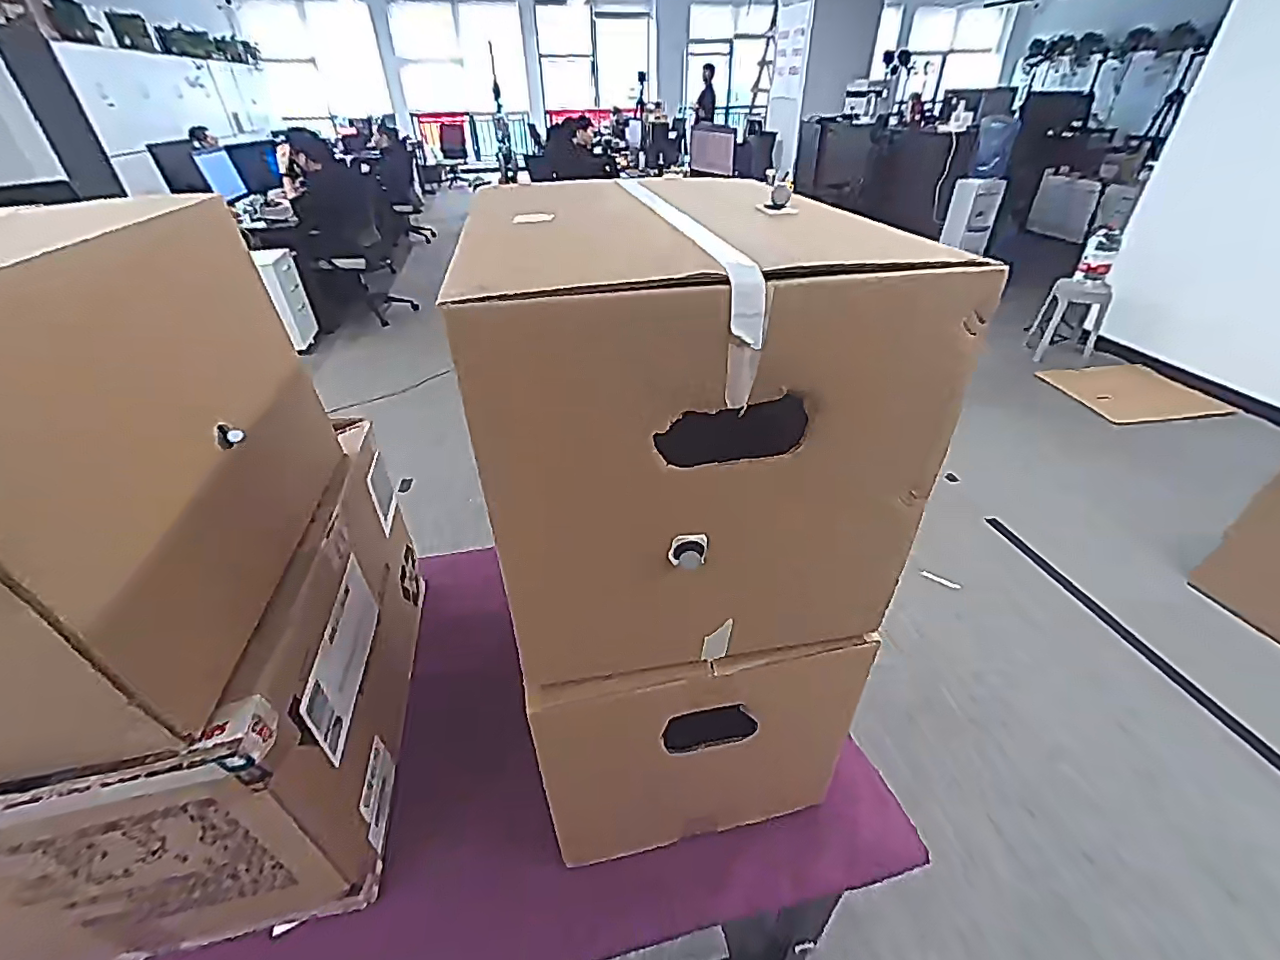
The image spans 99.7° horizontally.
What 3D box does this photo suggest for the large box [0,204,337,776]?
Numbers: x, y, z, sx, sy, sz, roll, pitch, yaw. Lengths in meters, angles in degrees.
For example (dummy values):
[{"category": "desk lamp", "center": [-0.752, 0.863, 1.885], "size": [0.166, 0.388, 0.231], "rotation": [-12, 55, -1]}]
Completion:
[{"category": "large box", "center": [-0.514, -0.018, 0.457], "size": [0.320, 0.320, 0.408], "rotation": [-11, 37, -6]}]
